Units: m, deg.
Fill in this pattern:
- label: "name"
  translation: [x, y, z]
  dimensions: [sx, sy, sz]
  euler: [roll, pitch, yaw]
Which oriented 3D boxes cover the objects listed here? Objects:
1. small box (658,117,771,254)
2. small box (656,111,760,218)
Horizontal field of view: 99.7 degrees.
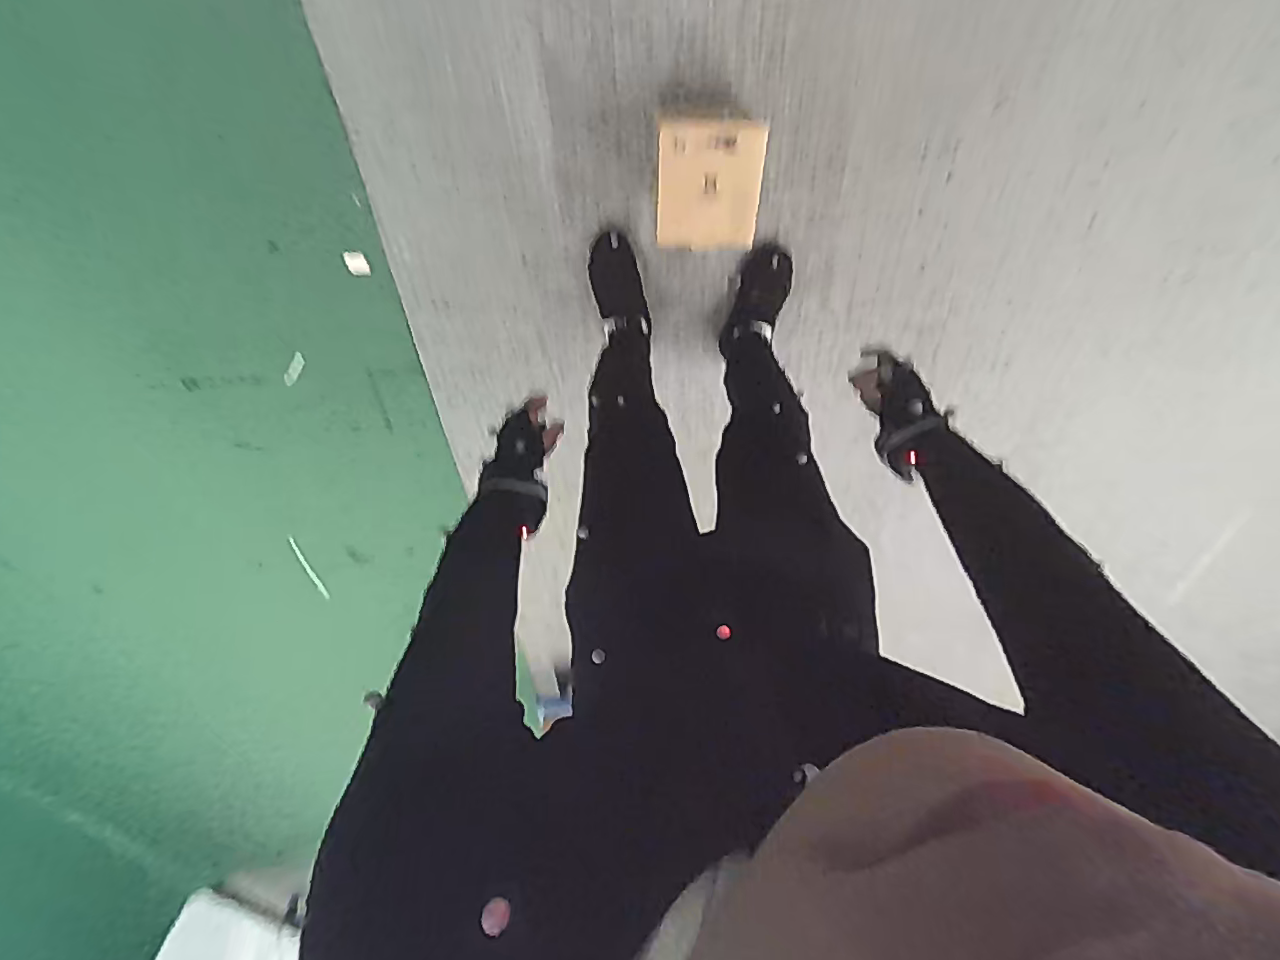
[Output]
- label: "small box"
  translation: [0.117, -0.508, 0.933]
  dimensions: [0.168, 0.176, 0.179]
  euler: [1, 130, -1]
- label: "small box"
  translation: [0.121, -0.614, 1.058]
  dimensions: [0.179, 0.176, 0.168]
  euler: [1, 129, -1]
